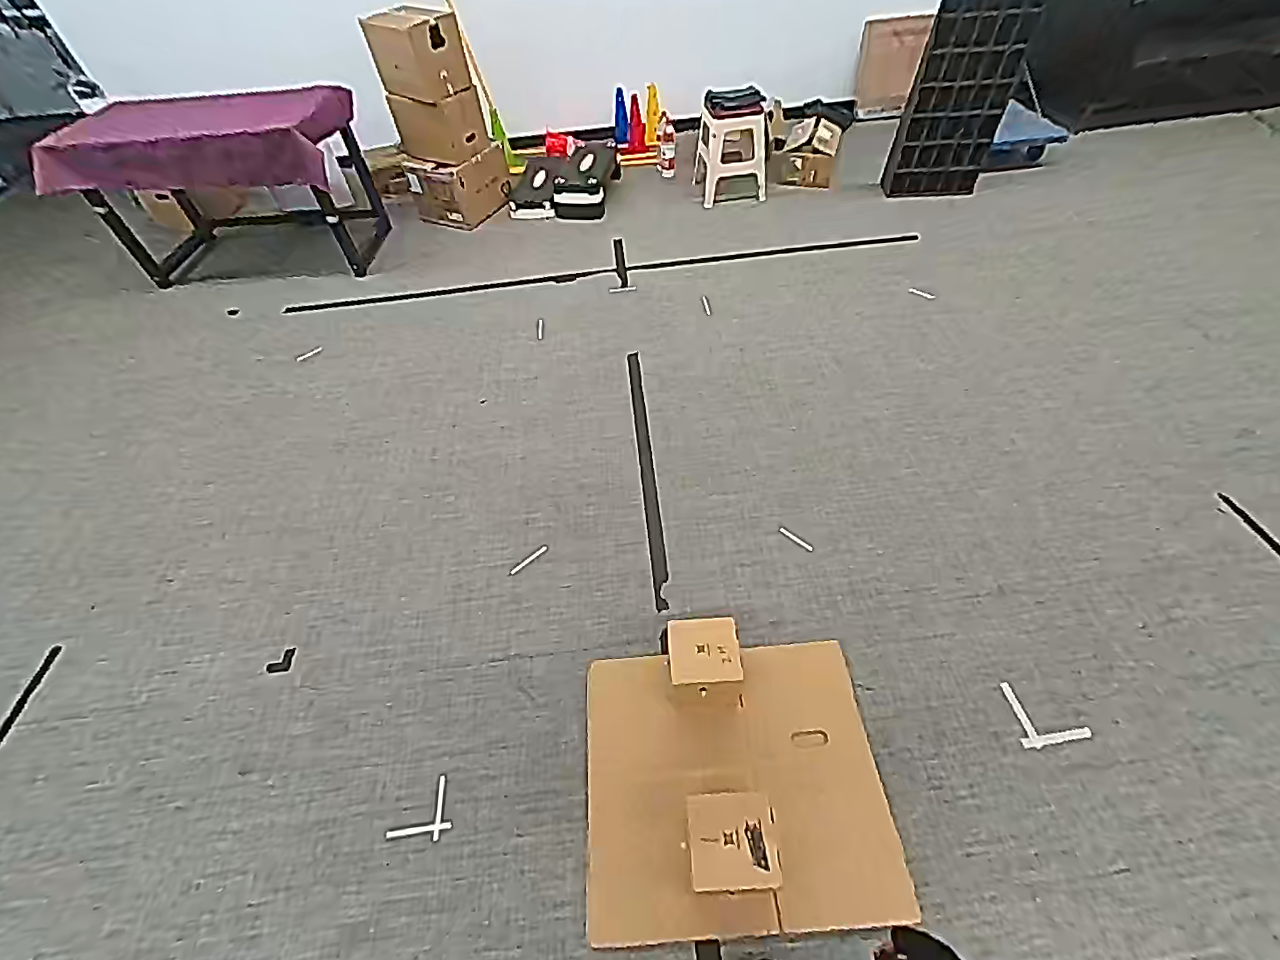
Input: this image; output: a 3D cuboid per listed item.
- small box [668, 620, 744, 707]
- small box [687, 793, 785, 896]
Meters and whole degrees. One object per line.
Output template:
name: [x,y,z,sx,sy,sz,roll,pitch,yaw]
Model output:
small box: [0.167,0.479,1.403,0.179,0.176,0.168,-3,49,1]
small box: [0.195,0.776,1.149,0.179,0.176,0.168,-4,50,2]
